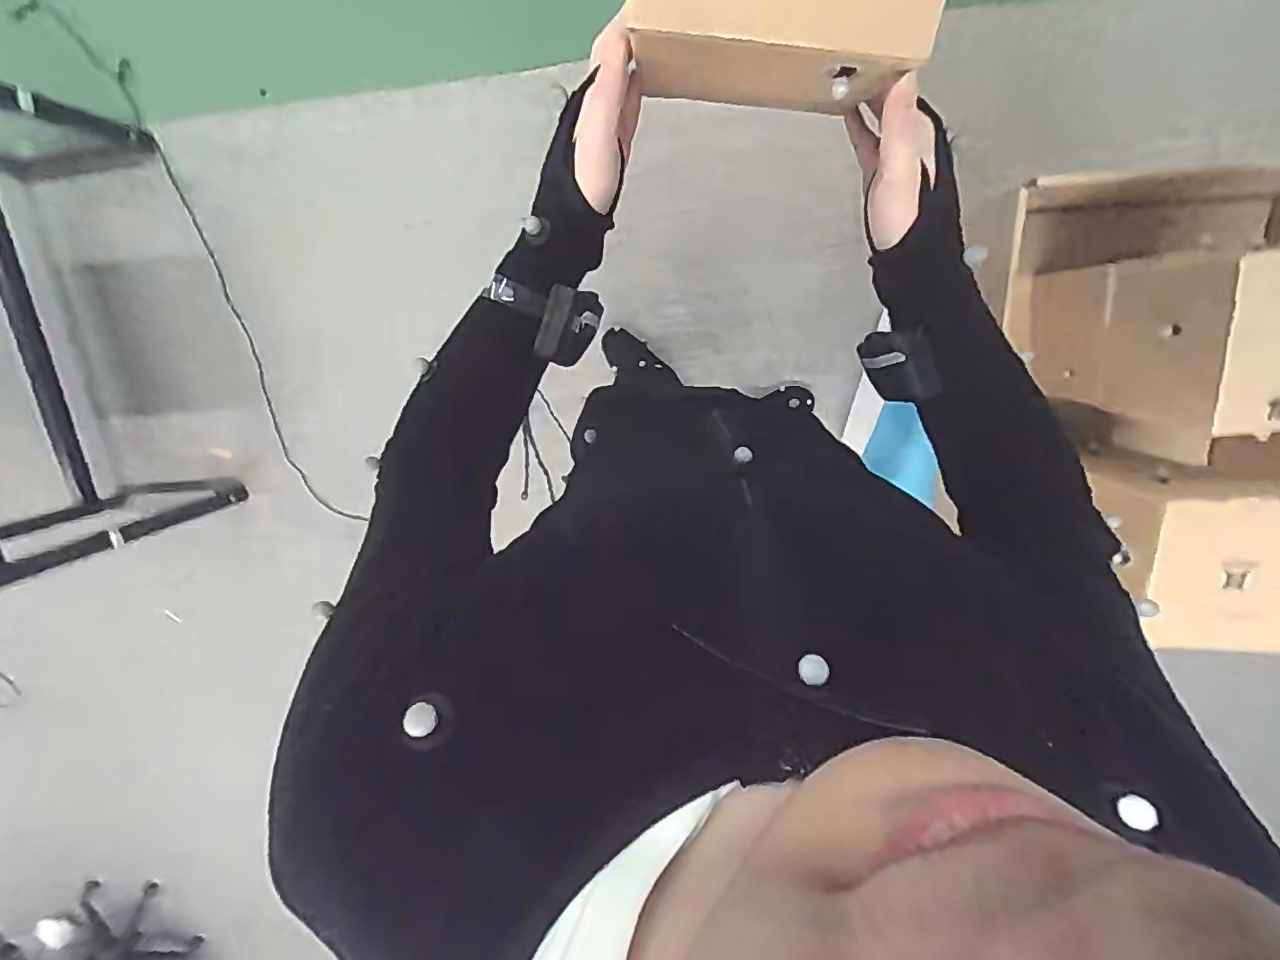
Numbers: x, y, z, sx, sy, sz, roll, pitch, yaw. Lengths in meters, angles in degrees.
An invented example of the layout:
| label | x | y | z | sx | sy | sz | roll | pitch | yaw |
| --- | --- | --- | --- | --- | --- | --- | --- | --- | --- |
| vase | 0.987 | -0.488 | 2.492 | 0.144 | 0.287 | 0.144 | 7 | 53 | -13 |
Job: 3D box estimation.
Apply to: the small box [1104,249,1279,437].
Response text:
| label | x | y | z | sx | sy | sz | roll | pitch | yaw |
| --- | --- | --- | --- | --- | --- | --- | --- | --- | --- |
| small box | 0.654 | -0.153 | 0.589 | 0.168 | 0.176 | 0.179 | -5 | 105 | 10 |

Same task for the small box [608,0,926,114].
| label | x | y | z | sx | sy | sz | roll | pitch | yaw |
| --- | --- | --- | --- | --- | --- | --- | --- | --- | --- |
| small box | 0.076 | -0.350 | 0.345 | 0.179 | 0.176 | 0.168 | 4 | 116 | -1 |

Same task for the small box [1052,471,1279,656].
| label | x | y | z | sx | sy | sz | roll | pitch | yaw |
| --- | --- | --- | --- | --- | --- | --- | --- | --- | --- |
| small box | 0.643 | 0.088 | 0.655 | 0.168 | 0.176 | 0.179 | 1 | 104 | 8 |
